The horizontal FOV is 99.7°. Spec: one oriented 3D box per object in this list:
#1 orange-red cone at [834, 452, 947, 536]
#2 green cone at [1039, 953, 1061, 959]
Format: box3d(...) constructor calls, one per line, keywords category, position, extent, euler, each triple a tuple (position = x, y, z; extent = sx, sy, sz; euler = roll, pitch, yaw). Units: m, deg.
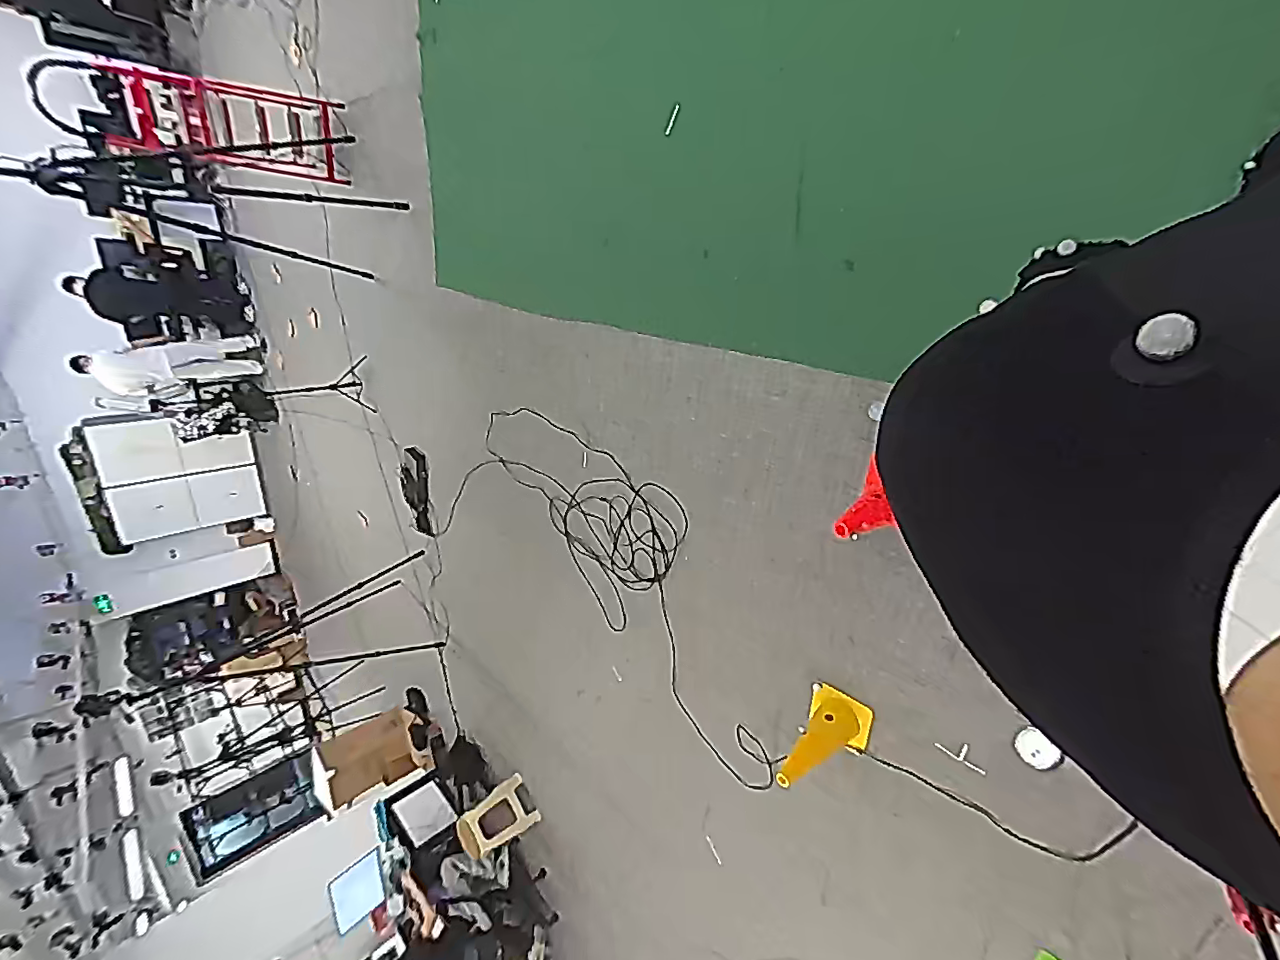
box3d(category="orange-red cone", position=(0.599, 0.076, 1.377), extent=(0.198, 0.360, 0.199), euler=(25, 122, 41))
box3d(category="green cone", position=(1.061, 1.454, 1.352), extent=(0.202, 0.368, 0.200), euler=(23, 119, 42))
